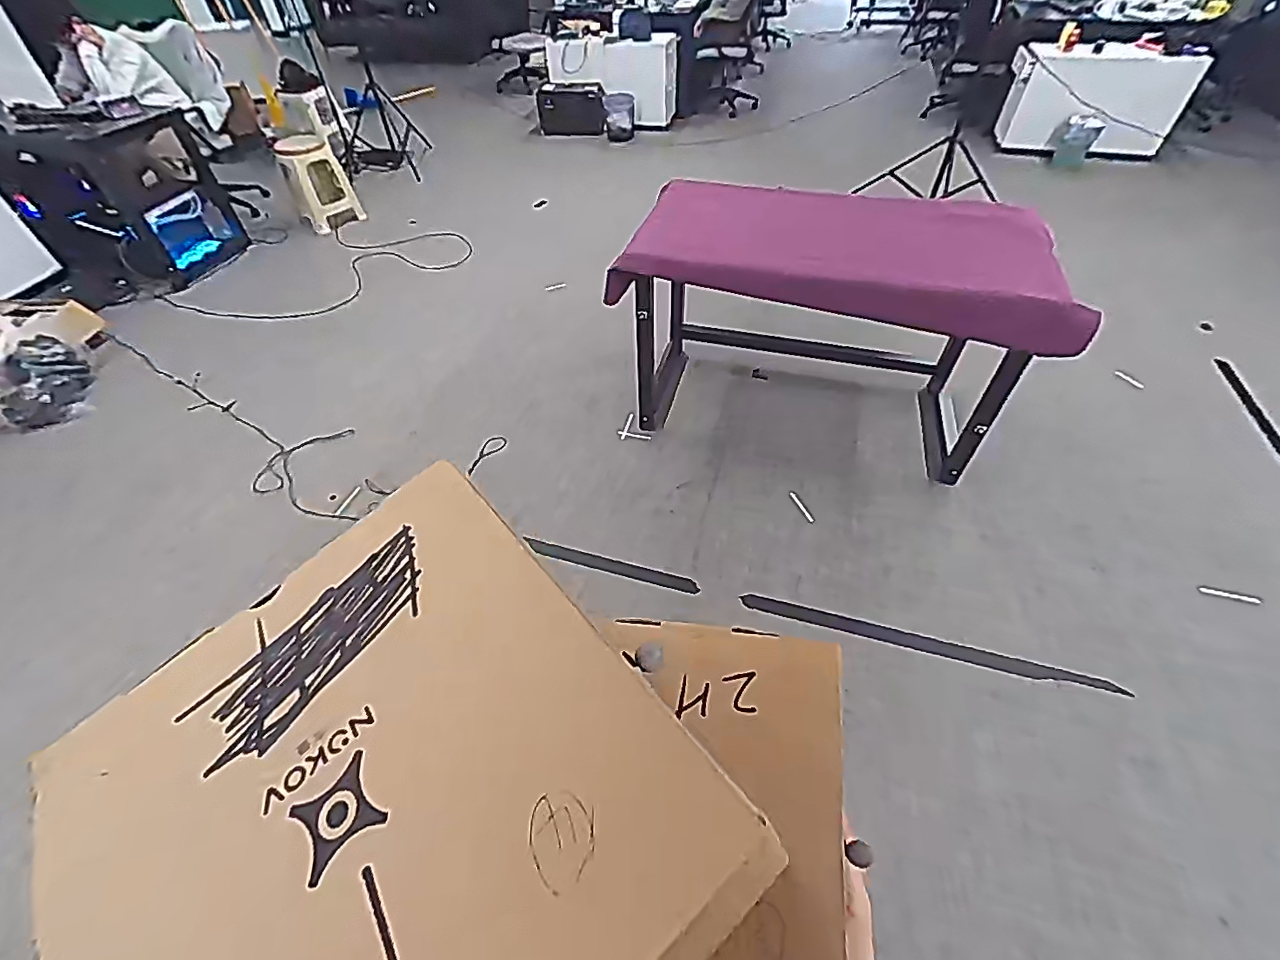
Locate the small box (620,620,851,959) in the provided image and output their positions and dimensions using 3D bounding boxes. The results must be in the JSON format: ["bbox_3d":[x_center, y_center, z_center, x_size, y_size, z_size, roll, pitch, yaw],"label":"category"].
[{"bbox_3d":[0.041,0.207,0.342,0.168,0.176,0.179,0,53,17],"label":"small box"}]
